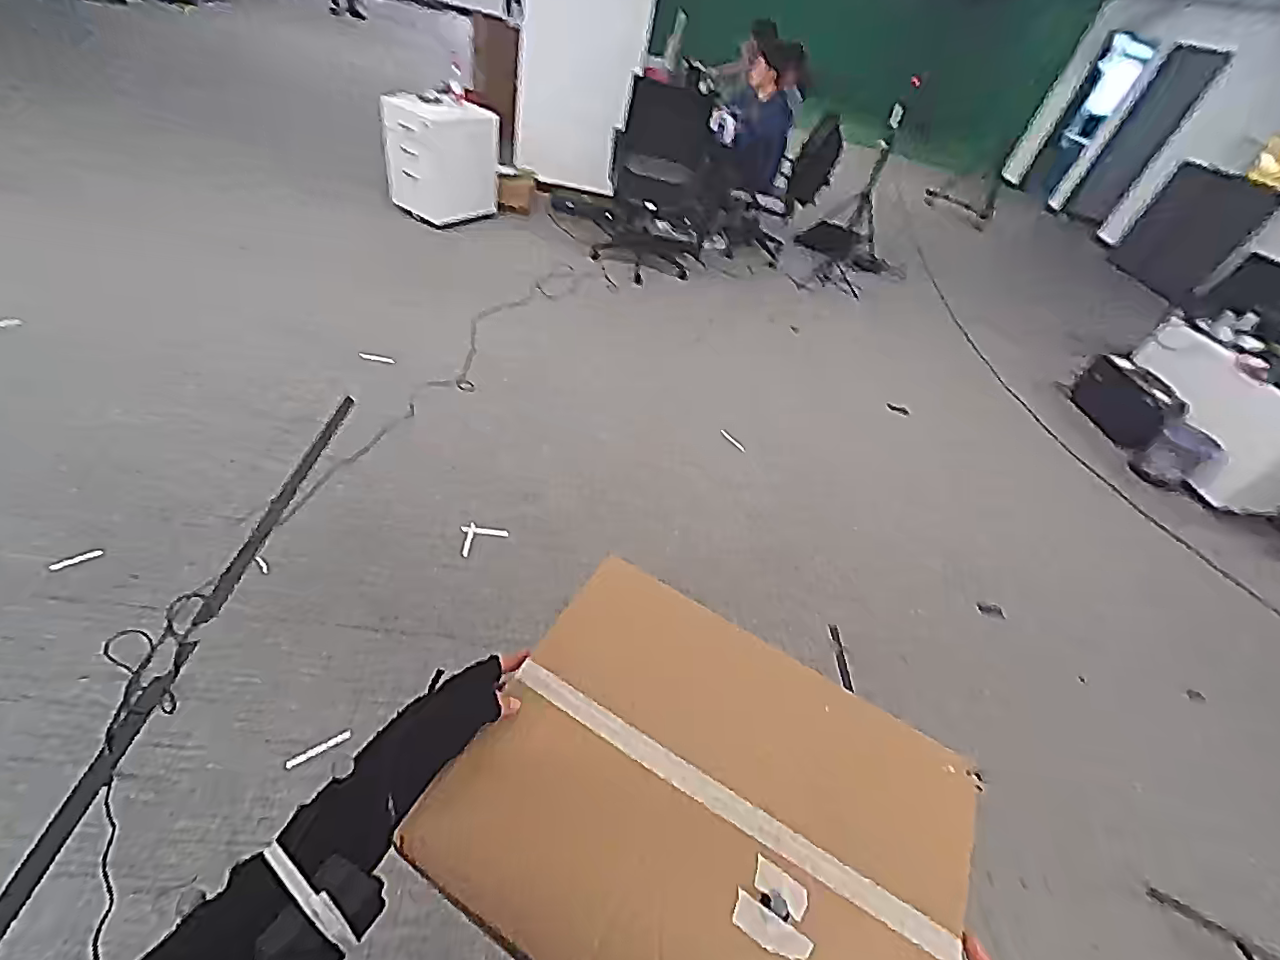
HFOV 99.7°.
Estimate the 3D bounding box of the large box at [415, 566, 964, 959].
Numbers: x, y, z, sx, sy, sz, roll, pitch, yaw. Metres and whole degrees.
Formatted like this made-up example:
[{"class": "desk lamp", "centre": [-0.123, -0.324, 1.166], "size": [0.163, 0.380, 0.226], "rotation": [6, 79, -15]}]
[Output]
[{"class": "large box", "centre": [0.042, 0.370, 0.569], "size": [0.408, 0.320, 0.320], "rotation": [28, 49, 13]}]
